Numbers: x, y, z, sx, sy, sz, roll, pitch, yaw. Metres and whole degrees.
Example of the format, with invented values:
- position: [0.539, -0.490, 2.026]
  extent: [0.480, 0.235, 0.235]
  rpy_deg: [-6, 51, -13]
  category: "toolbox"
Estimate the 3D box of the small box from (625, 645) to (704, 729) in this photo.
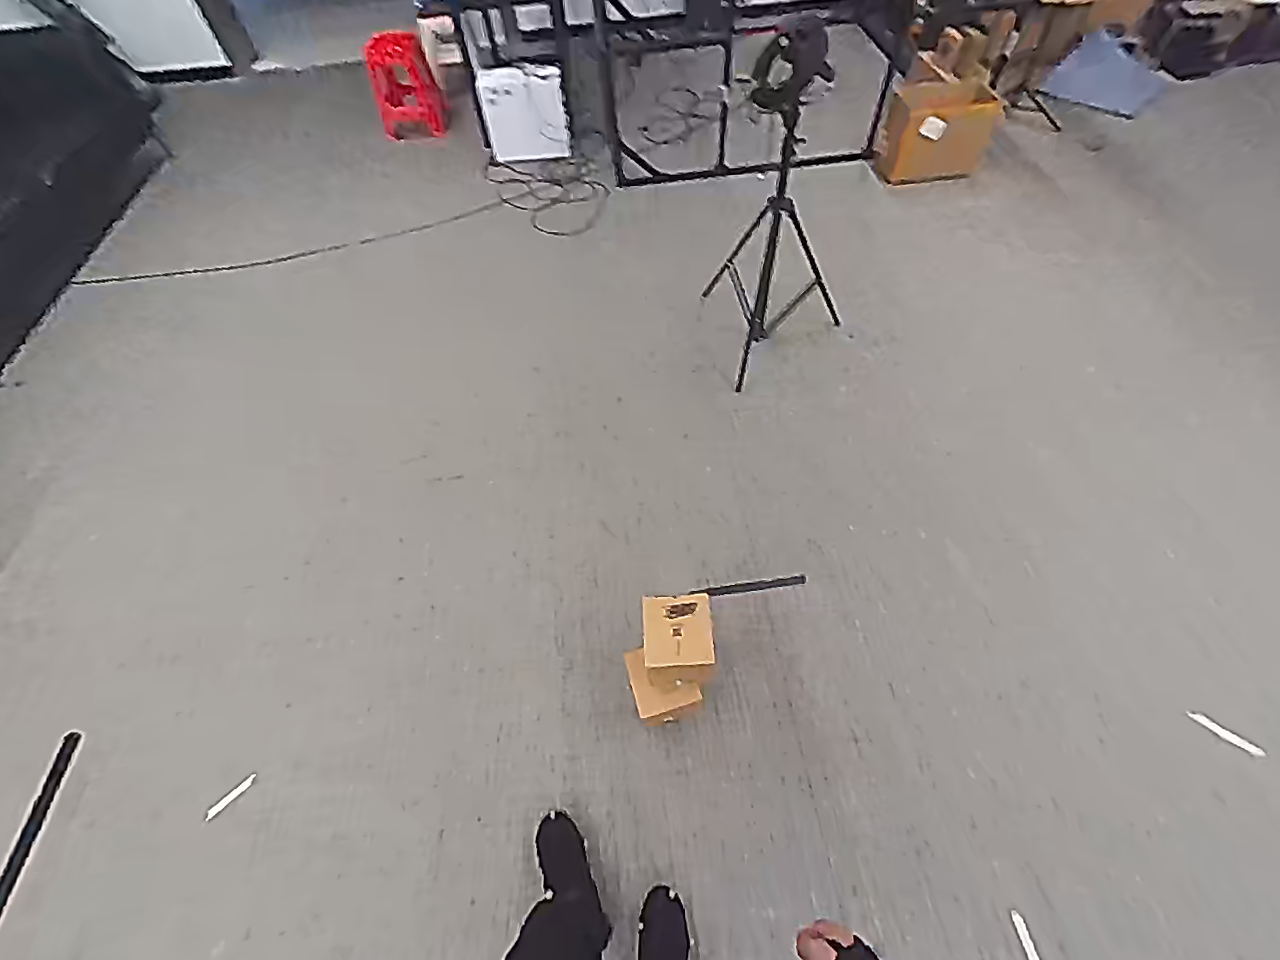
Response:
- position: [0.063, 0.545, 1.453]
  extent: [0.168, 0.176, 0.179]
  rpy_deg: [-16, 56, -6]
  category: "small box"

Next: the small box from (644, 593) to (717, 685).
- position: [0.098, 0.399, 1.352]
  extent: [0.168, 0.176, 0.179]
  rpy_deg: [-4, 56, 3]
  category: "small box"
